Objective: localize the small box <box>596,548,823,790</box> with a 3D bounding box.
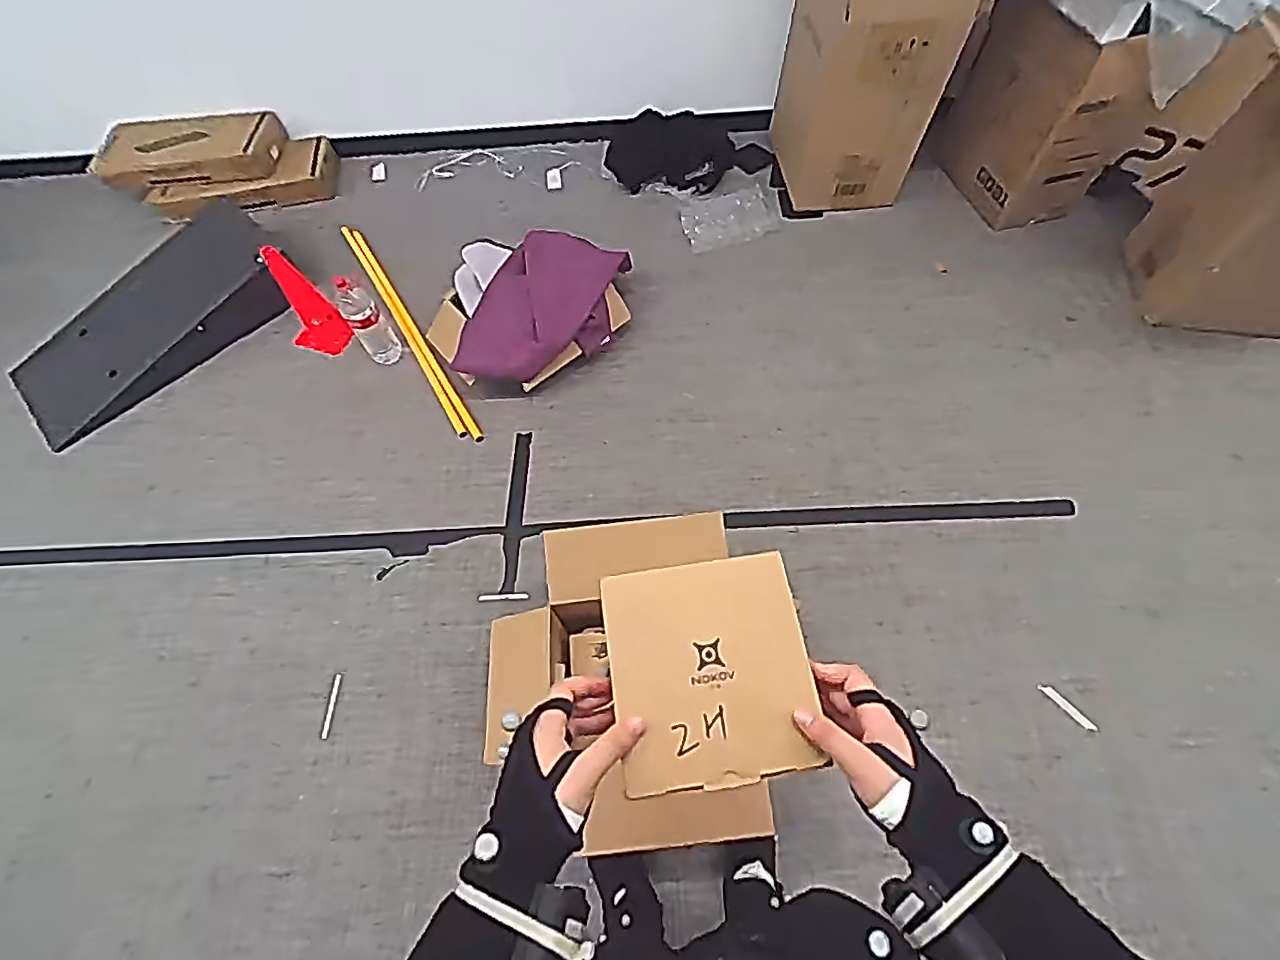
[{"bbox_3d":[0.051,0.181,0.522,0.168,0.176,0.179,-8,67,-2],"label":"small box"}]
